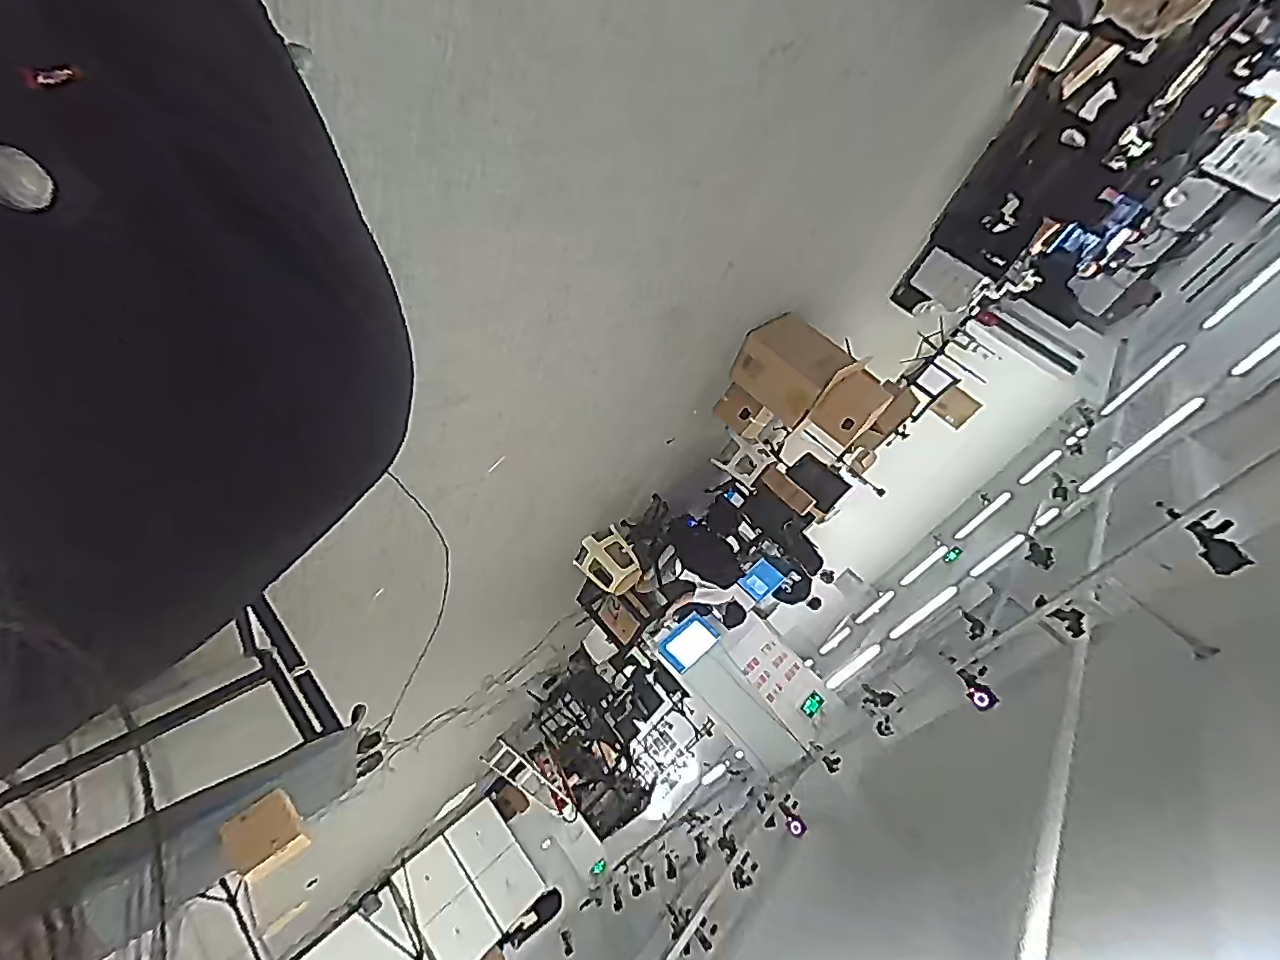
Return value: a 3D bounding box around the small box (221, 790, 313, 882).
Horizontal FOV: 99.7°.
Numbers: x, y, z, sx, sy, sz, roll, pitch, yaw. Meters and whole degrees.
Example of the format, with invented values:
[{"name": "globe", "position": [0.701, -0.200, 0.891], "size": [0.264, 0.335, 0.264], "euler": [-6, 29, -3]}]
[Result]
[{"name": "small box", "position": [-1.146, 1.093, 1.668], "size": [0.168, 0.176, 0.179], "euler": [-31, 158, -37]}]
